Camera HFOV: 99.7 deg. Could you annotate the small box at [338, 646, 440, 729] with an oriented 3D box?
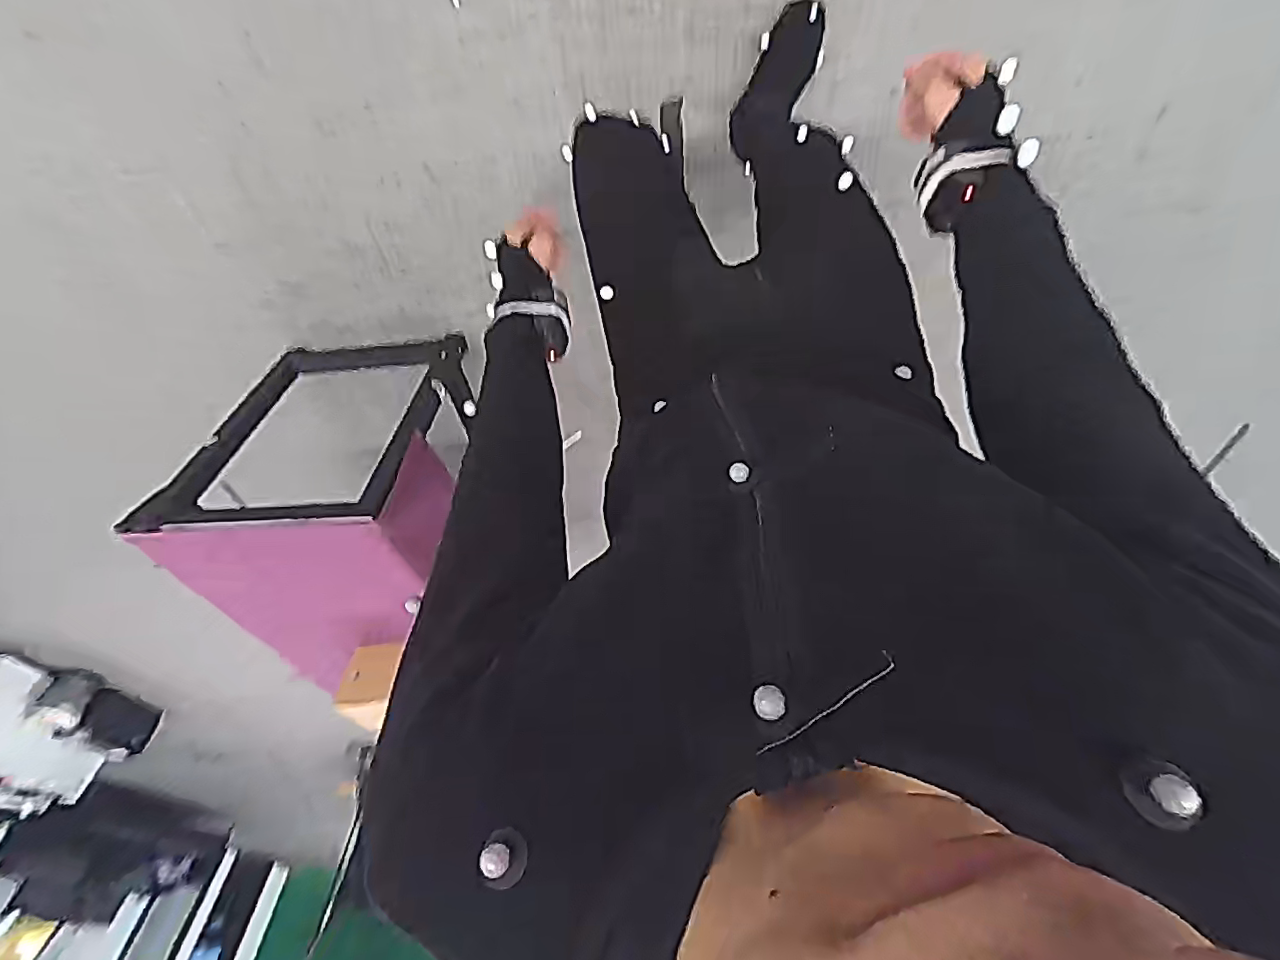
[{"bbox_3d":[-0.699,0.585,1.527,0.179,0.176,0.168,-10,136,13],"label":"small box"}]
